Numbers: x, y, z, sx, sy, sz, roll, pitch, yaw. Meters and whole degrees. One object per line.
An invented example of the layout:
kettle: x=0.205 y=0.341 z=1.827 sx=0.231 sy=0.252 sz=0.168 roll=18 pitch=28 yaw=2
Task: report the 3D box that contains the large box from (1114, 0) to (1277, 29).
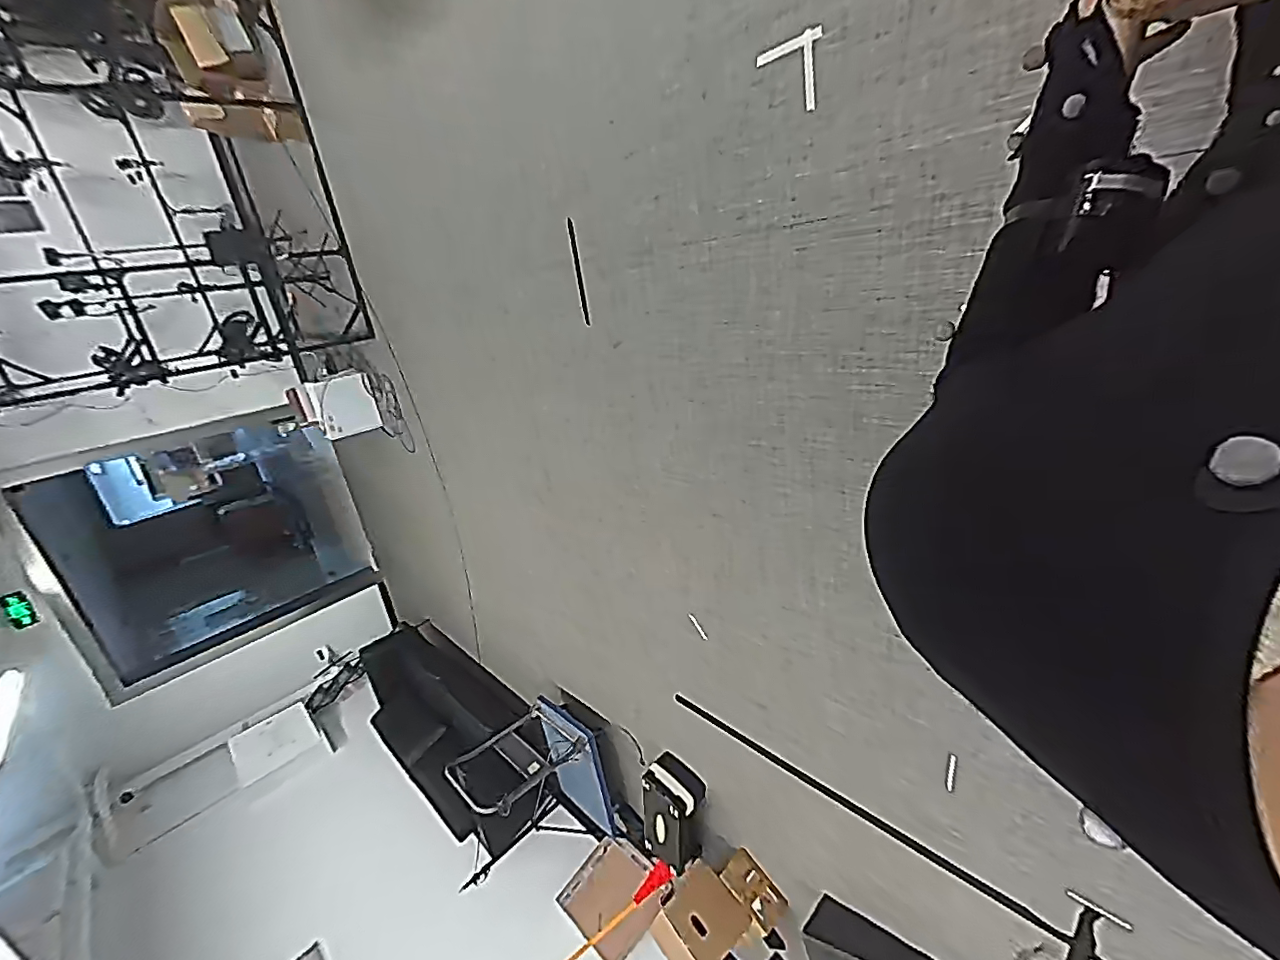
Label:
large box: x=0.397 y=-0.367 z=0.117 sx=0.408 sy=0.320 sz=0.320 roll=11 pitch=128 yaw=41
